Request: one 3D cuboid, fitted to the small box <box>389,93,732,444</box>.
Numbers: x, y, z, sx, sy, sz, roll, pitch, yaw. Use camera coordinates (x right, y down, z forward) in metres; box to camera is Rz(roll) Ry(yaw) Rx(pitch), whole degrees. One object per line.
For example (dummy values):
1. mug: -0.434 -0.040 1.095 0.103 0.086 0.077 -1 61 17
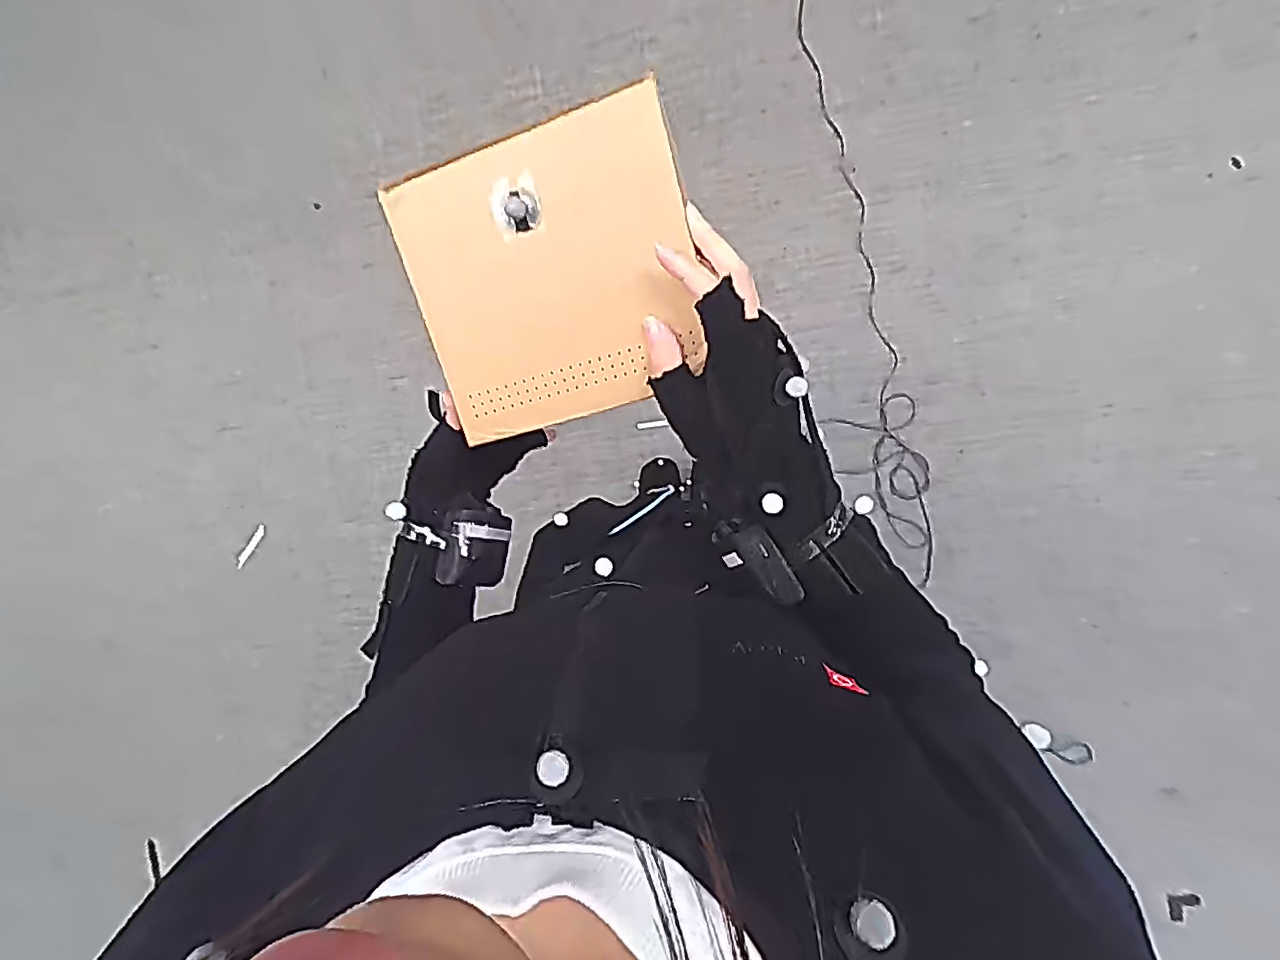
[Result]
1. small box: -0.039 -0.135 0.404 0.179 0.168 0.176 -13 104 13
